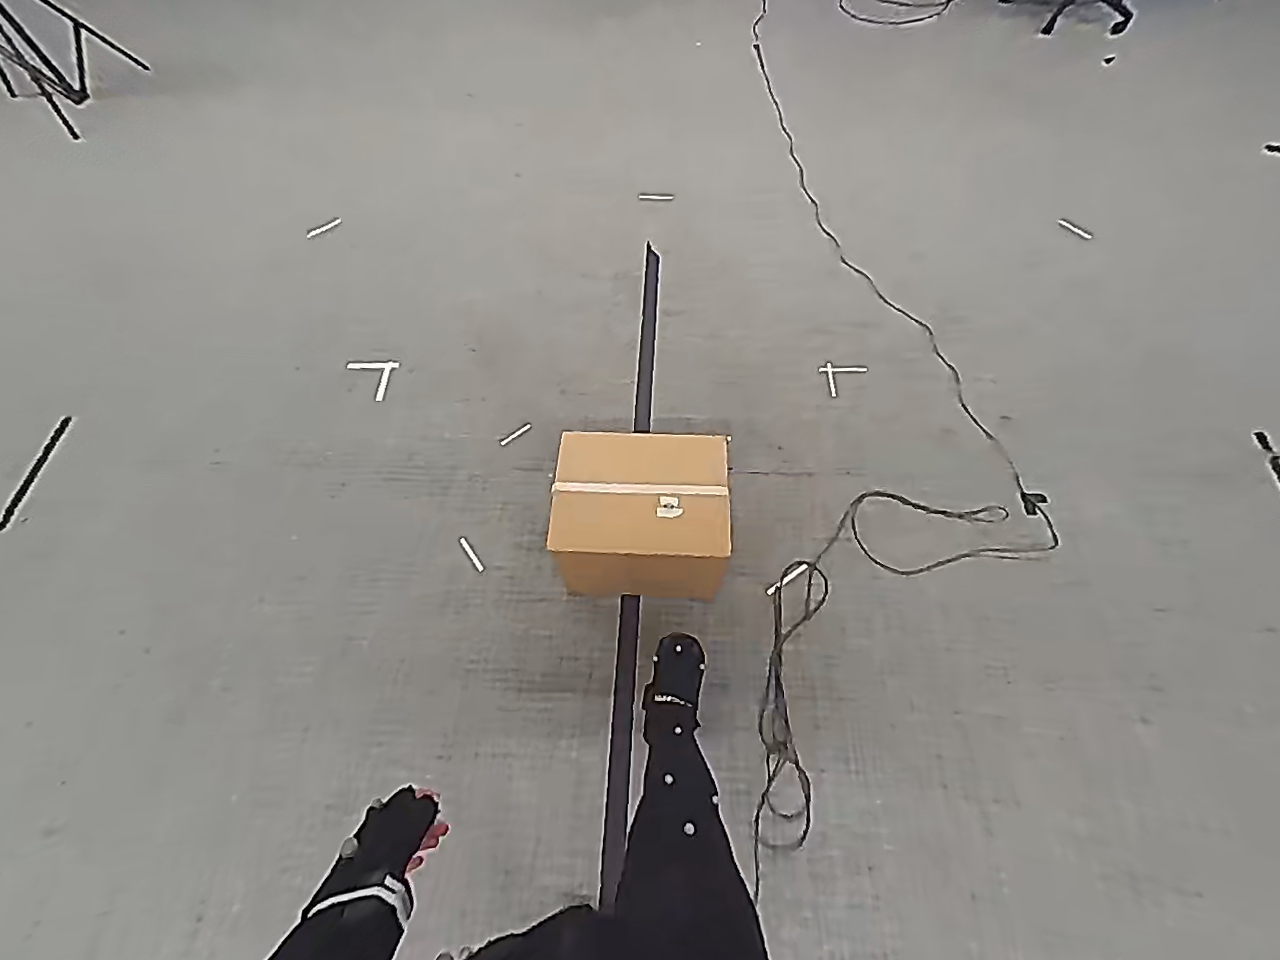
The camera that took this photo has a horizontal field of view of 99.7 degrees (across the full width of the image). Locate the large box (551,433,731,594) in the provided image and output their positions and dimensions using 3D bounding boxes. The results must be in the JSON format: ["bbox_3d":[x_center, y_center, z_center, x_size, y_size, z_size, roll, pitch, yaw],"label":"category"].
[{"bbox_3d":[0.007,0.095,1.383,0.408,0.320,0.320,2,62,2],"label":"large box"}]
